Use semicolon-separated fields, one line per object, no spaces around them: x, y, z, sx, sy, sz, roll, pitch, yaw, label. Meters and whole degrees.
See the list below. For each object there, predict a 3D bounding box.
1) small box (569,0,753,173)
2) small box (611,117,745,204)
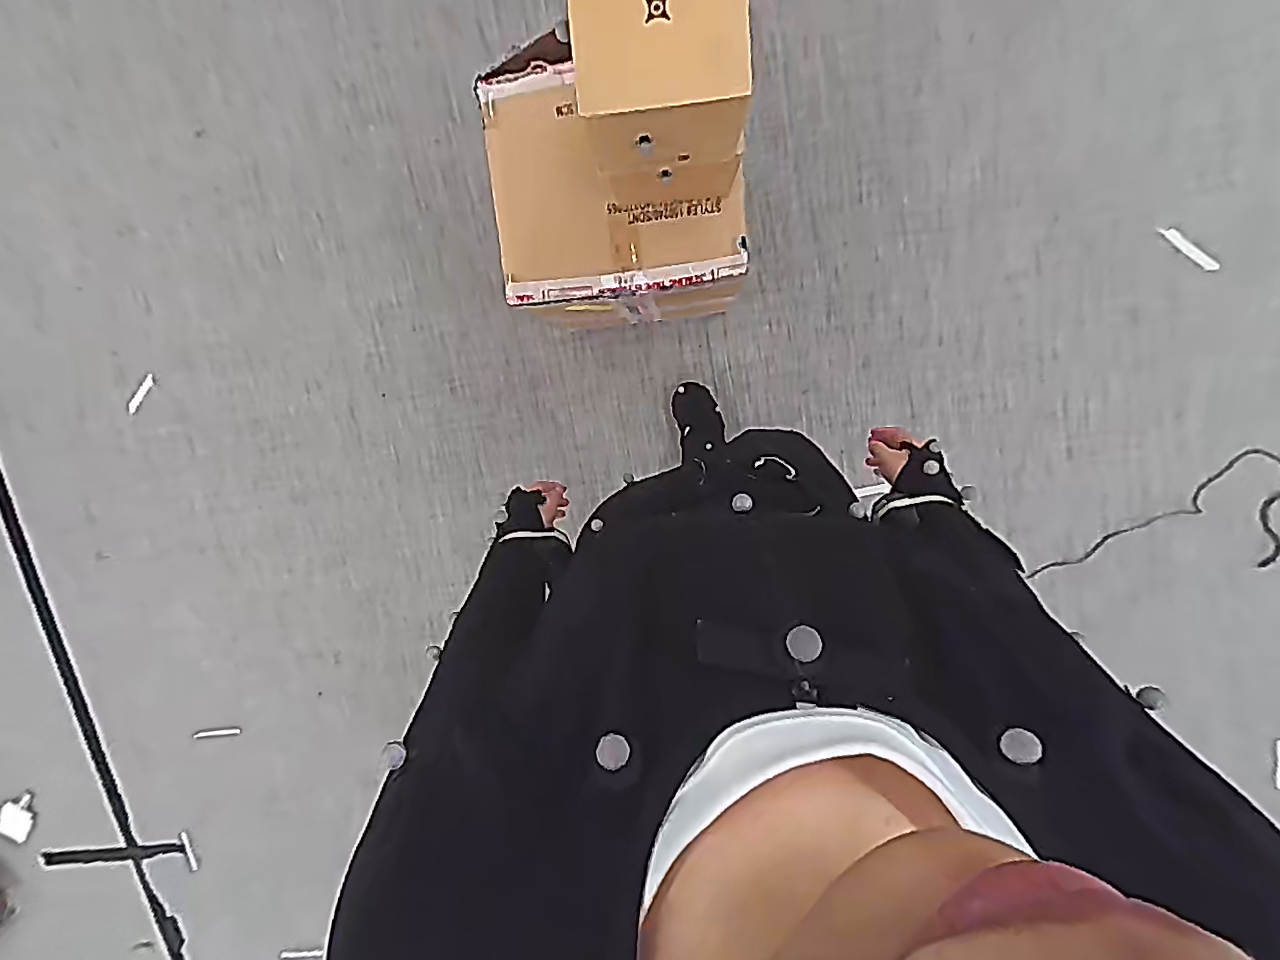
0.024;-0.445;0.568;0.168;0.176;0.179;-5;101;5;small box
0.044;-0.485;0.725;0.179;0.176;0.168;-3;102;4;small box
